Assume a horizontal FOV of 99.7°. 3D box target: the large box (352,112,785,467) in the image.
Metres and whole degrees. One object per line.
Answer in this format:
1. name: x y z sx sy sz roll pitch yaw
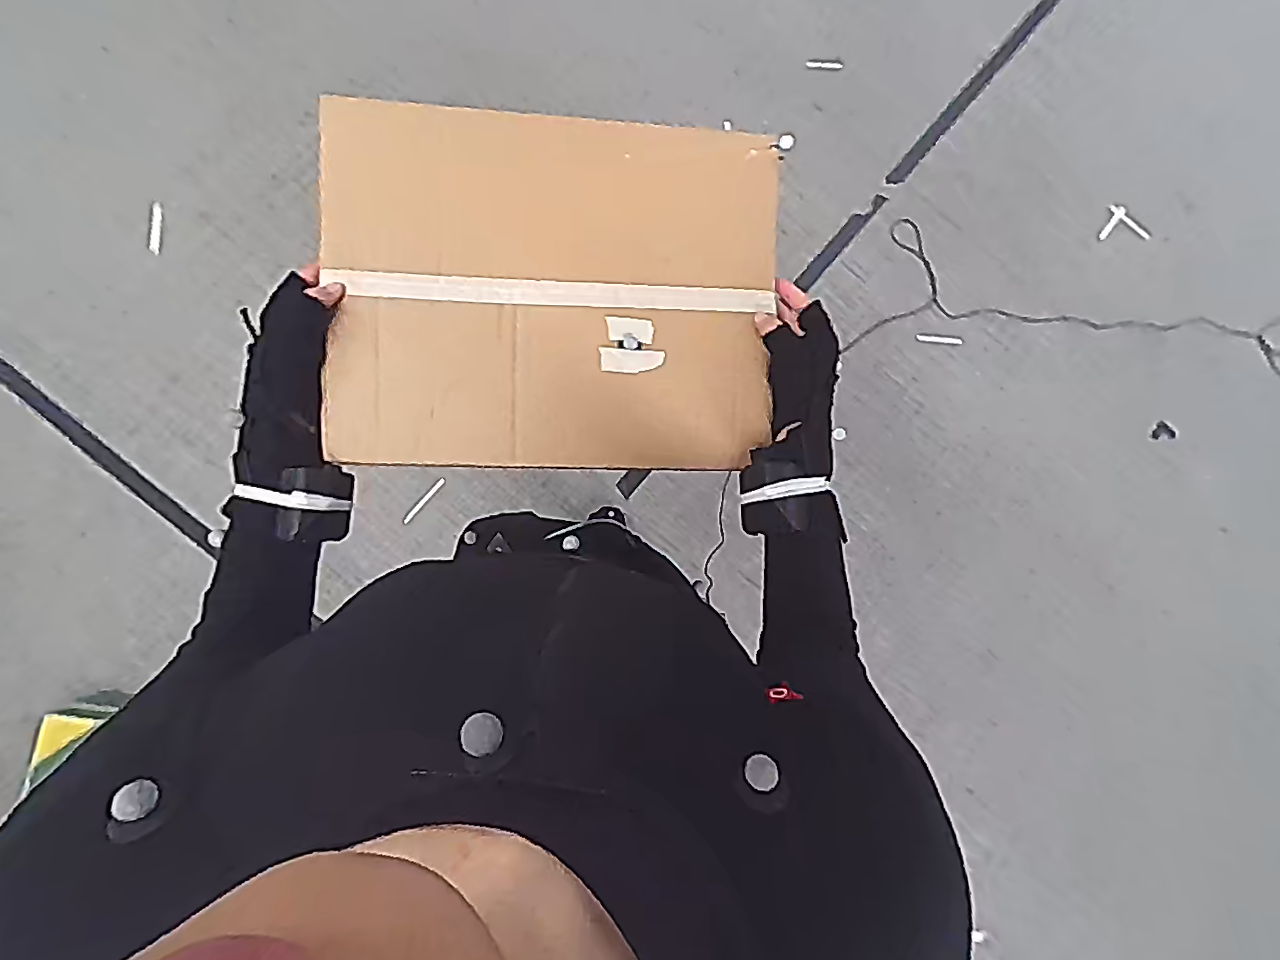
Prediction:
1. large box: -0.078 -0.177 0.652 0.408 0.320 0.320 2 94 -7
